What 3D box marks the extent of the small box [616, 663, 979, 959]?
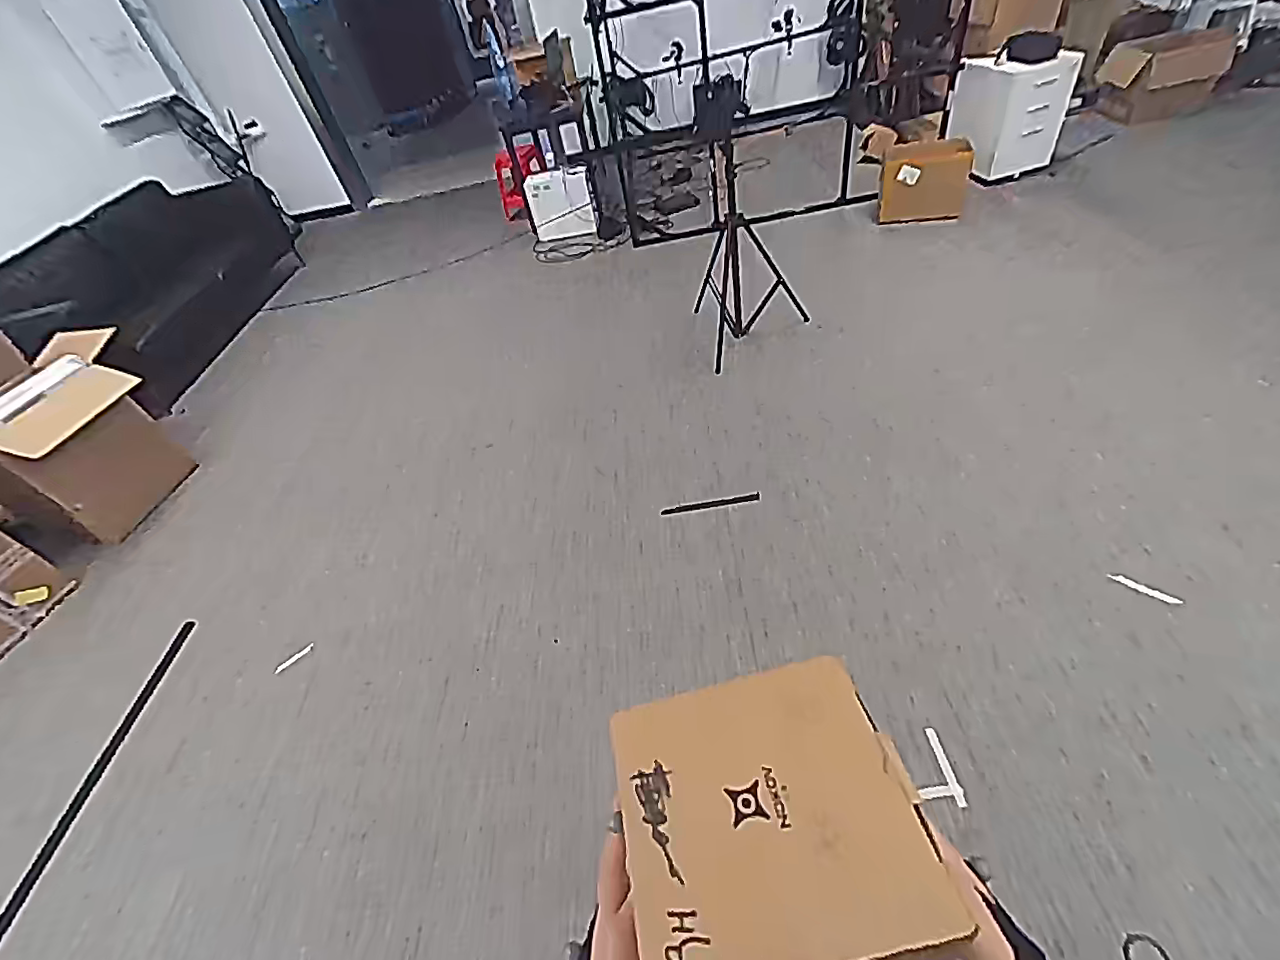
[{"bbox_3d":[0.091,0.263,0.383,0.179,0.176,0.168,-14,38,-1],"label":"small box"}]
